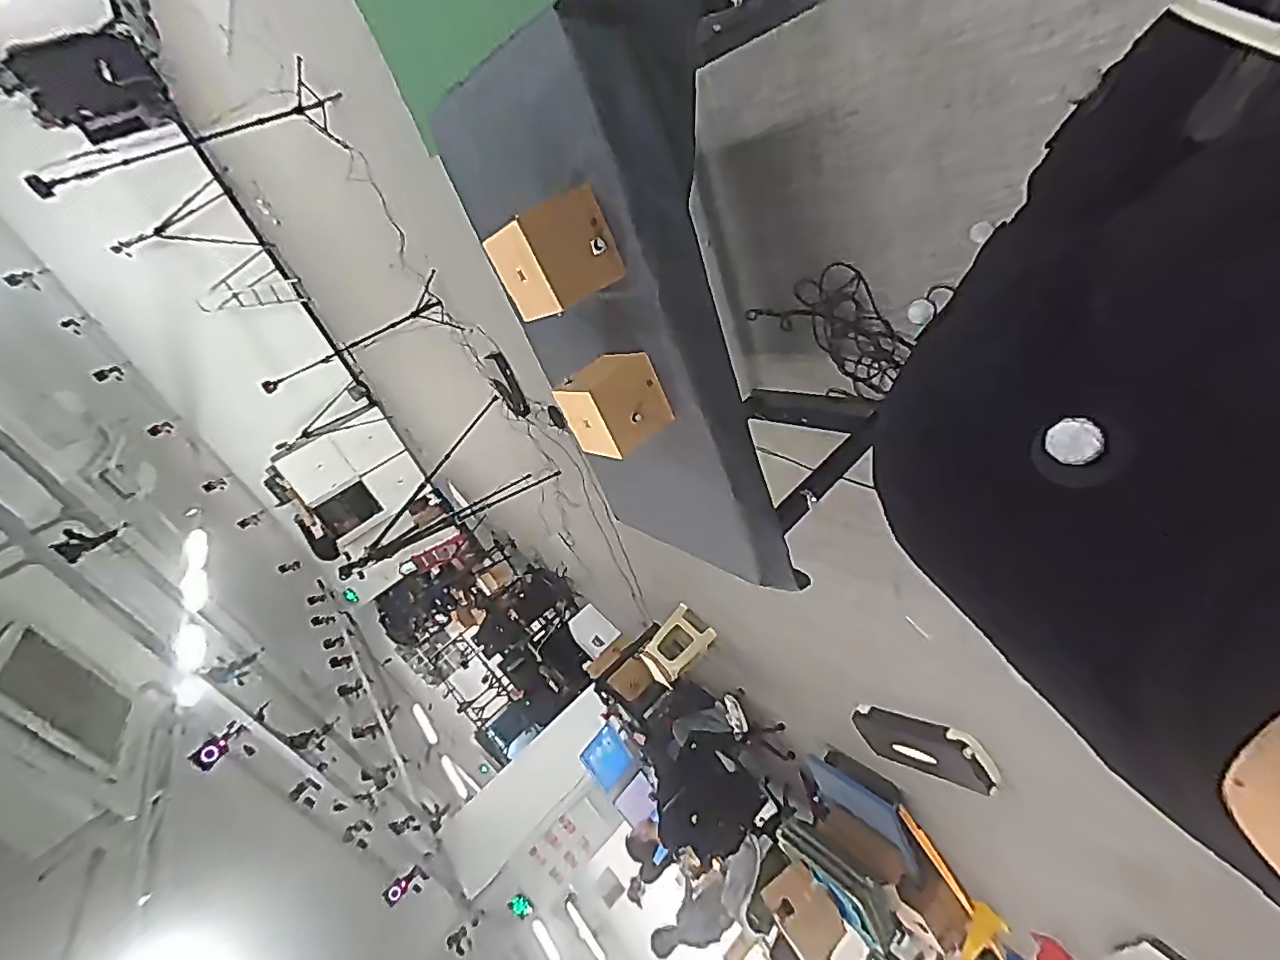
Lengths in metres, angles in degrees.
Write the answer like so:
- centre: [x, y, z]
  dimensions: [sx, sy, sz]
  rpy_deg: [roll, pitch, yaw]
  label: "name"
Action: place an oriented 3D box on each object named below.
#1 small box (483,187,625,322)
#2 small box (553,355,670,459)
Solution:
- centre: [-0.160, -0.420, 1.022]
  dimensions: [0.179, 0.176, 0.168]
  rpy_deg: [11, 135, 54]
  label: "small box"
- centre: [-0.055, -0.166, 1.196]
  dimensions: [0.179, 0.176, 0.168]
  rpy_deg: [14, 137, 54]
  label: "small box"
